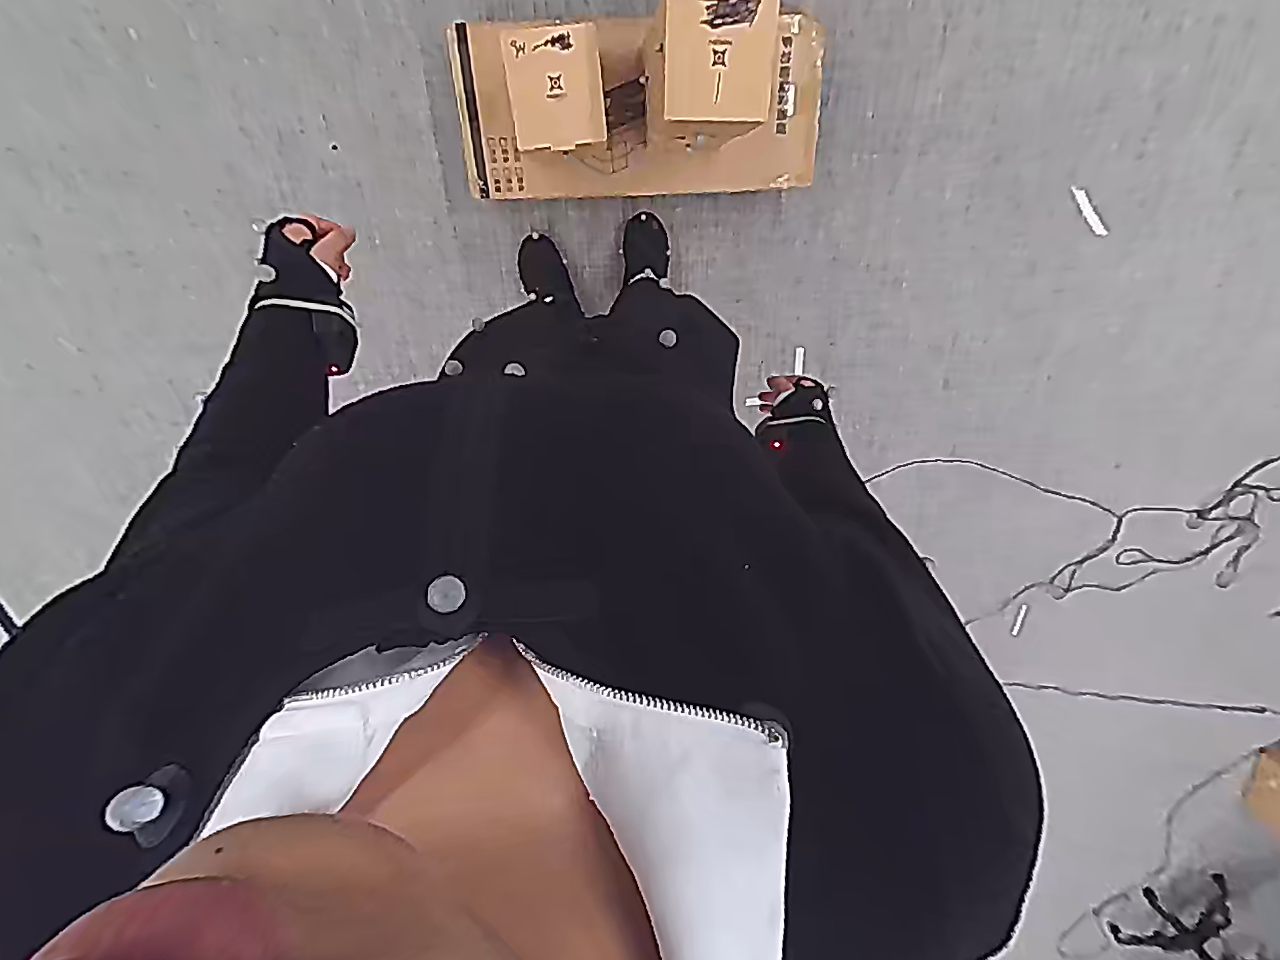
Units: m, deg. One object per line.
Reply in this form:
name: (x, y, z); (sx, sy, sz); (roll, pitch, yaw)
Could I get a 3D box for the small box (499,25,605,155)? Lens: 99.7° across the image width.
small box: (-0.154, -0.715, 1.012); (0.168, 0.176, 0.179); (-6, 117, -1)

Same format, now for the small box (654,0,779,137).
small box: (0.112, -0.668, 0.871); (0.168, 0.176, 0.179); (-1, 117, -3)

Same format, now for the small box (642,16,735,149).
small box: (0.093, -0.739, 1.018); (0.168, 0.176, 0.179); (-4, 116, -2)
